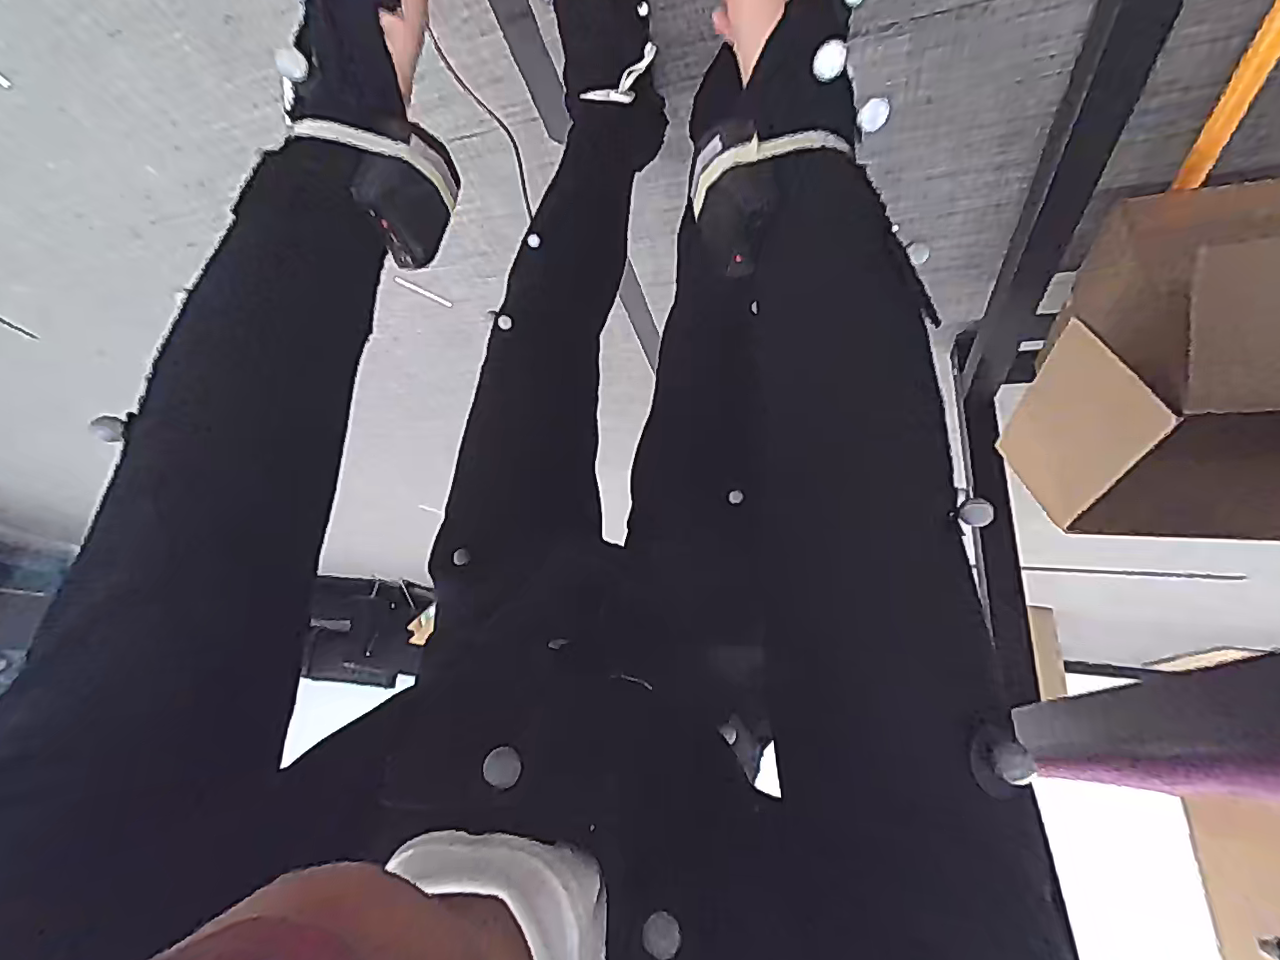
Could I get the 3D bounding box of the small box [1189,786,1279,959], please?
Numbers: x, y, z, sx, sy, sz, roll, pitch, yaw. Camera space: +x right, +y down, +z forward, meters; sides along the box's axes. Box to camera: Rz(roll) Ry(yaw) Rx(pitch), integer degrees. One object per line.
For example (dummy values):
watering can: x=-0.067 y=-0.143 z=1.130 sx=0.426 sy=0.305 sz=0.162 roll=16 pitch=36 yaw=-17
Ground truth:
small box: x=0.665 y=0.388 z=0.495 sx=0.168 sy=0.176 sz=0.179 roll=1 pitch=154 yaw=14
